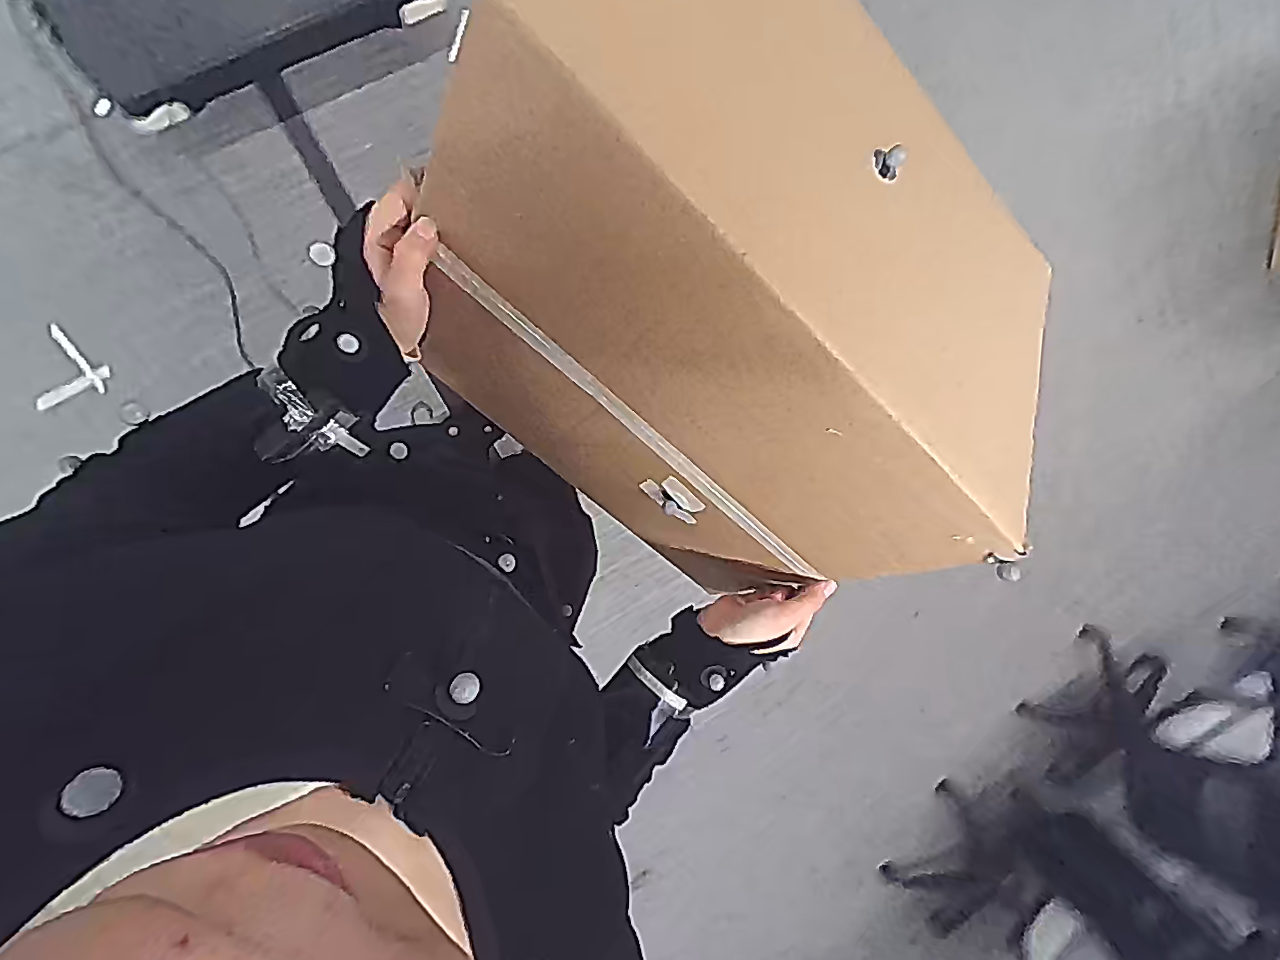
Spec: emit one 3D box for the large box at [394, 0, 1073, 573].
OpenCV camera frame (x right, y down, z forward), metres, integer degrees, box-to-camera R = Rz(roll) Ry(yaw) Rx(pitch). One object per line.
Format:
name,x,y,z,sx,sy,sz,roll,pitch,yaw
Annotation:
large box,0.078,-0.172,0.451,0.408,0.320,0.320,37,61,-16
